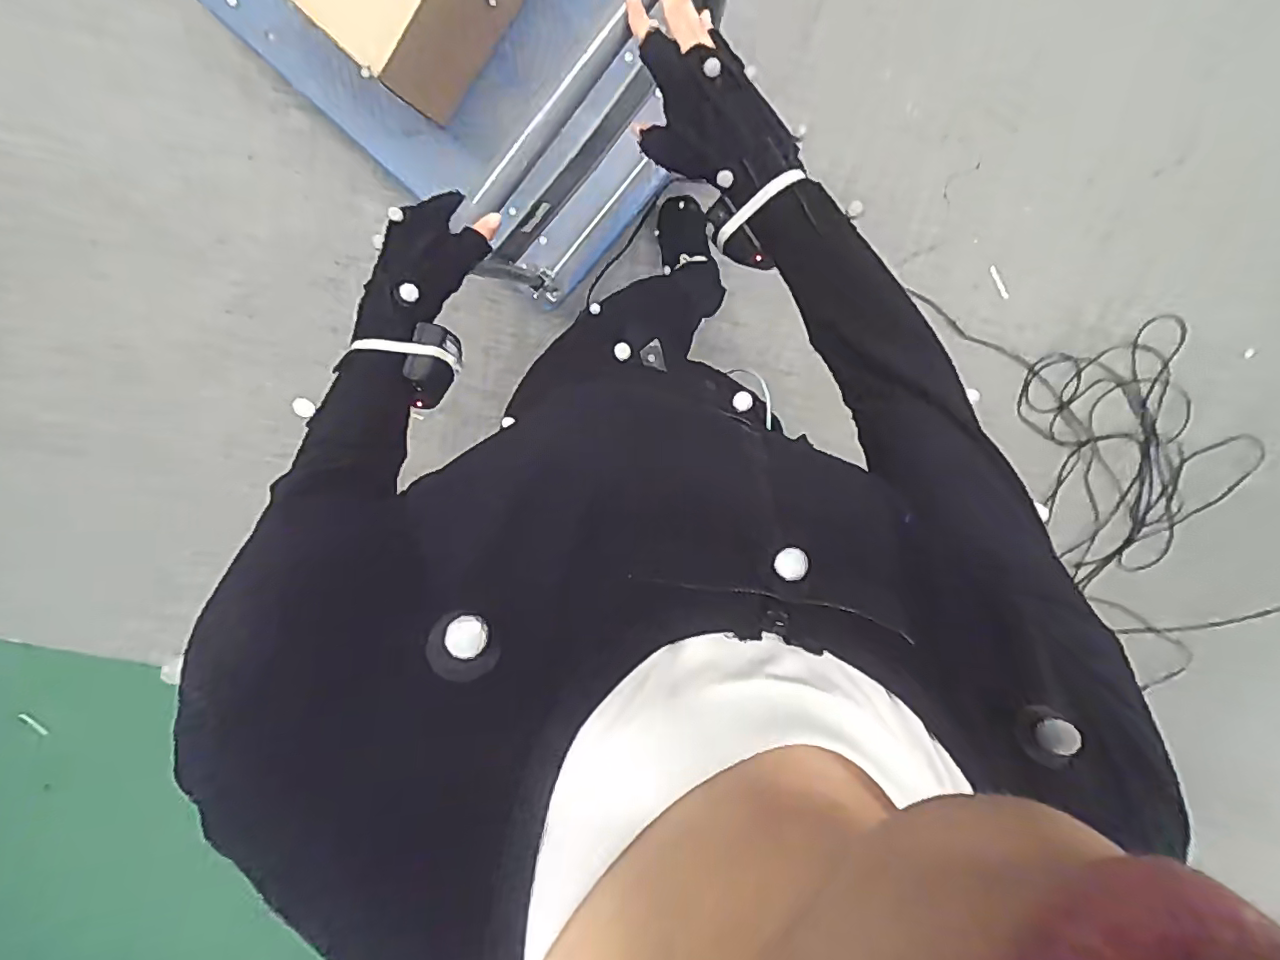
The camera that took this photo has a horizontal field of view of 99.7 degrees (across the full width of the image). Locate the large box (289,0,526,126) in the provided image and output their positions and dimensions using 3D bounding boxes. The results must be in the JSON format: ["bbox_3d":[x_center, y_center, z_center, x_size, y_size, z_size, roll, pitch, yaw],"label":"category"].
[{"bbox_3d":[-0.357,-0.860,0.825,0.320,0.320,0.408,38,107,-14],"label":"large box"}]
